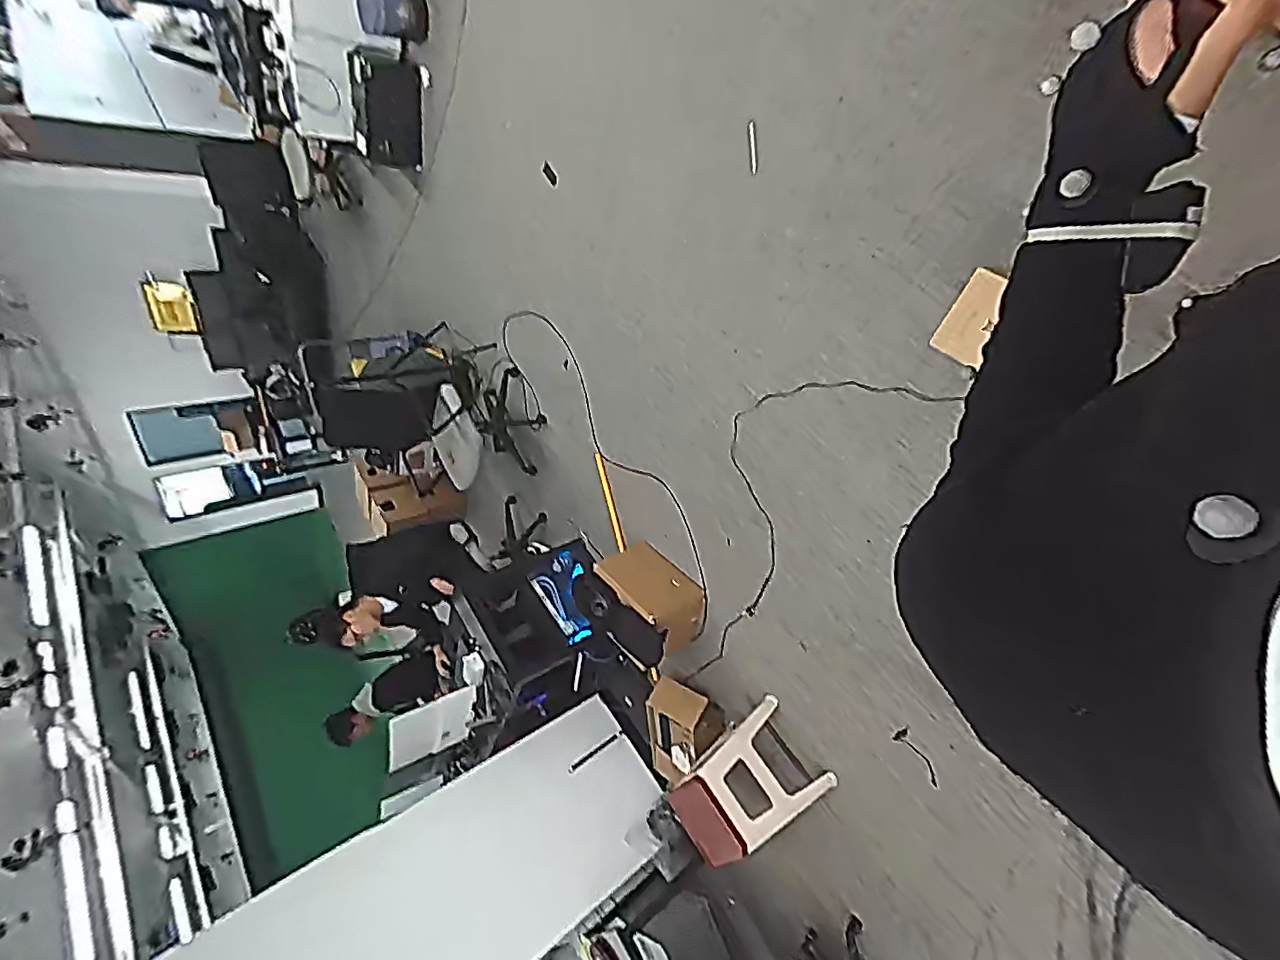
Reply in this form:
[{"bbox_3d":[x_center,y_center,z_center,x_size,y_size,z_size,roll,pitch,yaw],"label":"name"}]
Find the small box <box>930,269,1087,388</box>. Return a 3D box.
[{"bbox_3d":[0.730,-0.306,1.072,0.179,0.176,0.168,47,135,31],"label":"small box"}]
